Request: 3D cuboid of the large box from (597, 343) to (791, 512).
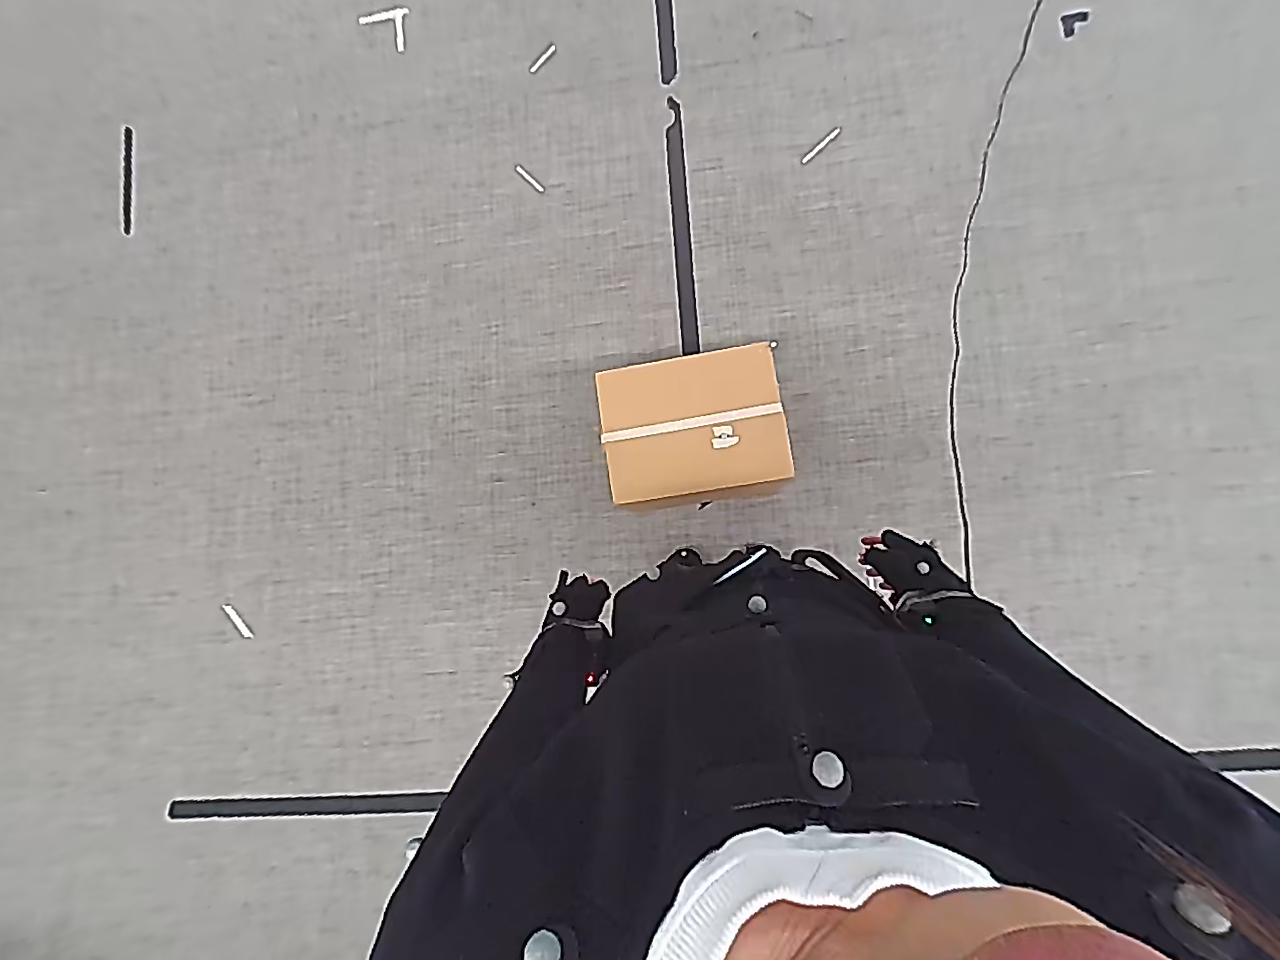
[{"bbox_3d":[0.132,-0.111,1.372,0.408,0.320,0.320,-9,82,5],"label":"large box"}]
